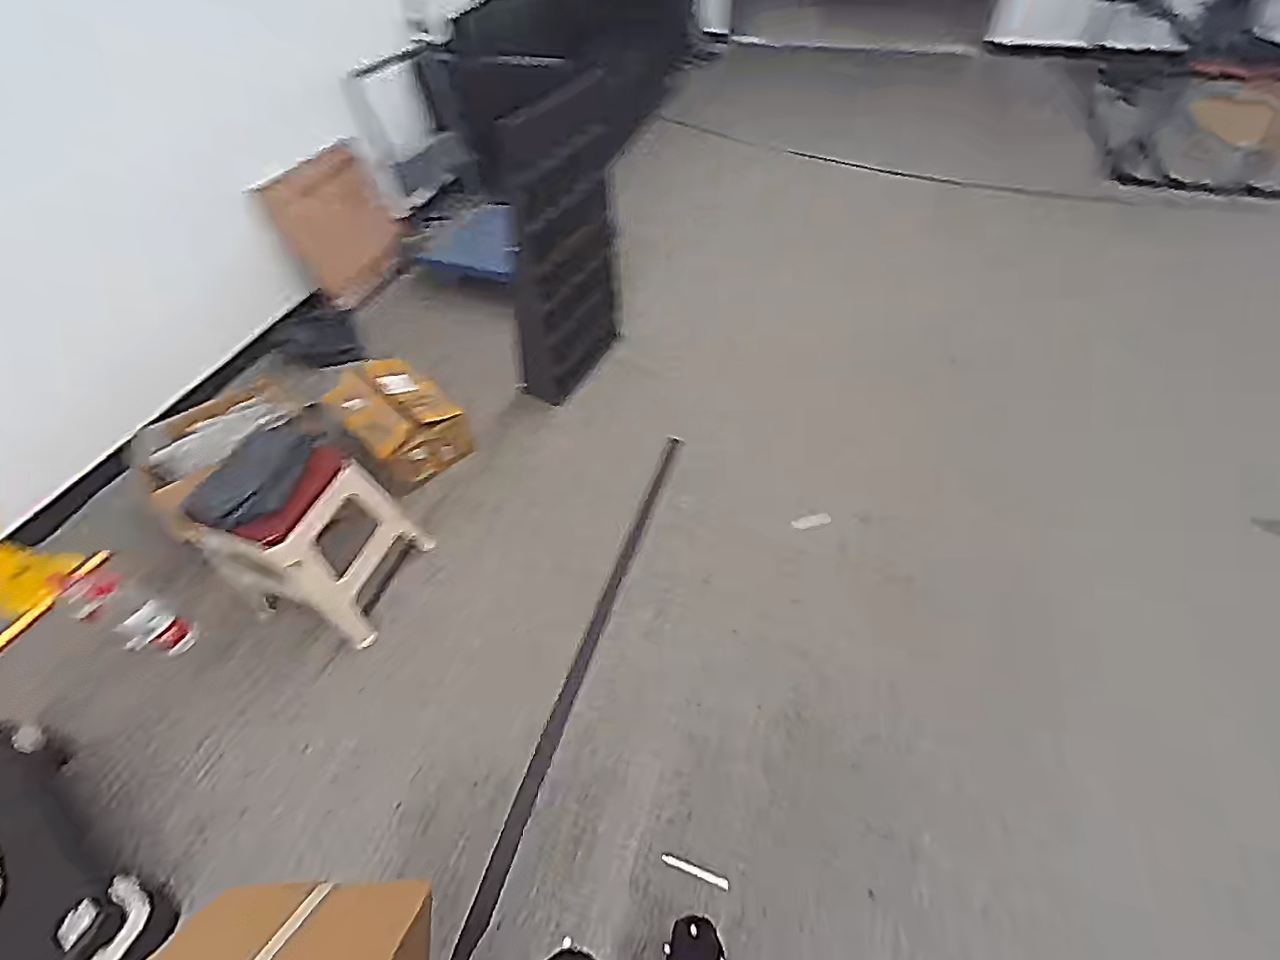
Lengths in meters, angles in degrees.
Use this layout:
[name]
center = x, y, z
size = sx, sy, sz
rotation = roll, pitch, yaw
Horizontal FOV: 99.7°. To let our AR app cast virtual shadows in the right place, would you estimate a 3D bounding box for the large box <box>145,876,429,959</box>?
[large box]
center = -0.476, 0.753, 0.638
size = 0.320, 0.408, 0.320
rotation = 1, 82, -2
